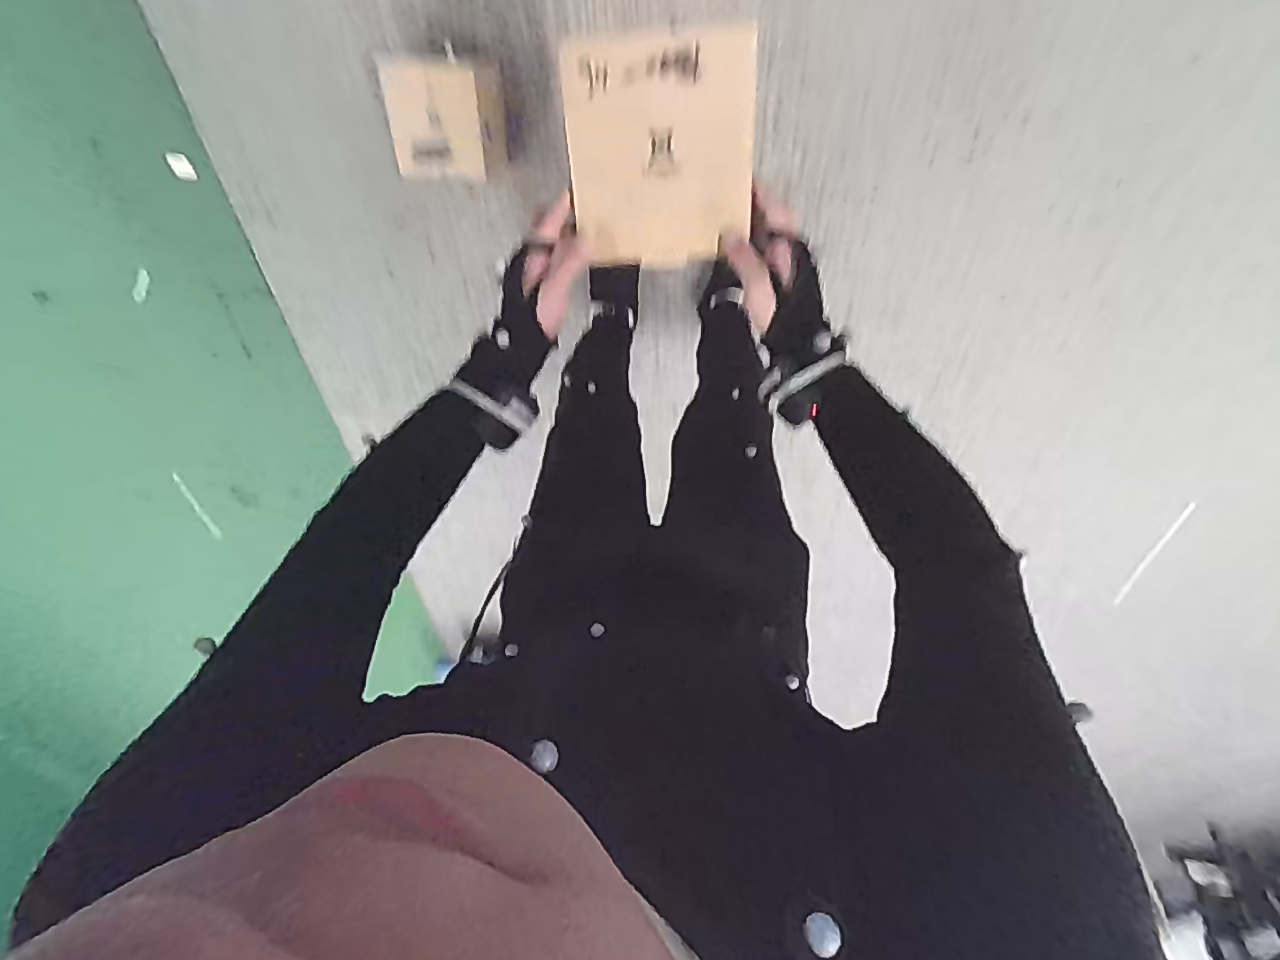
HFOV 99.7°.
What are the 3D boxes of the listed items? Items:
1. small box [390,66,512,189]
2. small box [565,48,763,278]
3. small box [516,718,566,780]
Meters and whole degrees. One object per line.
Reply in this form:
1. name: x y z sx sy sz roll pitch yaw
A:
1. small box: -0.351 -0.681 1.044 0.168 0.176 0.179 4 129 0
2. small box: 0.026 -0.316 0.552 0.168 0.176 0.179 -1 121 3
3. small box: -0.410 1.129 2.270 0.168 0.176 0.179 1 128 4
